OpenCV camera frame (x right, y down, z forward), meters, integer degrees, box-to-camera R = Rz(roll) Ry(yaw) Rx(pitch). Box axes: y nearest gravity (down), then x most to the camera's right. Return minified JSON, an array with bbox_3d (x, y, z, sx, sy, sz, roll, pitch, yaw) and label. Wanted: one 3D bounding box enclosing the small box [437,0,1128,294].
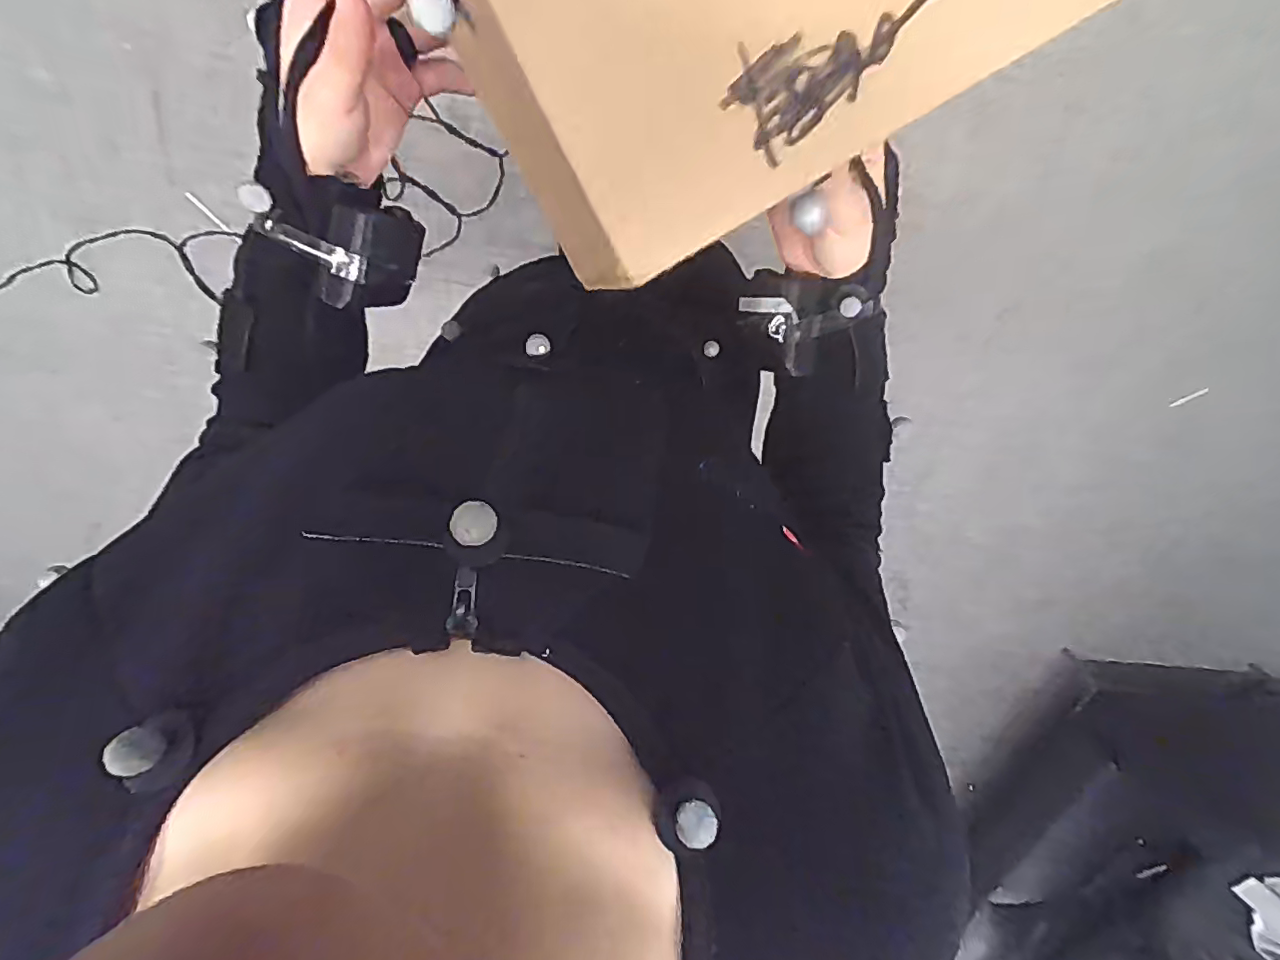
[{"bbox_3d":[0.020,-0.188,0.207,0.168,0.176,0.179,-31,110,2],"label":"small box"}]
